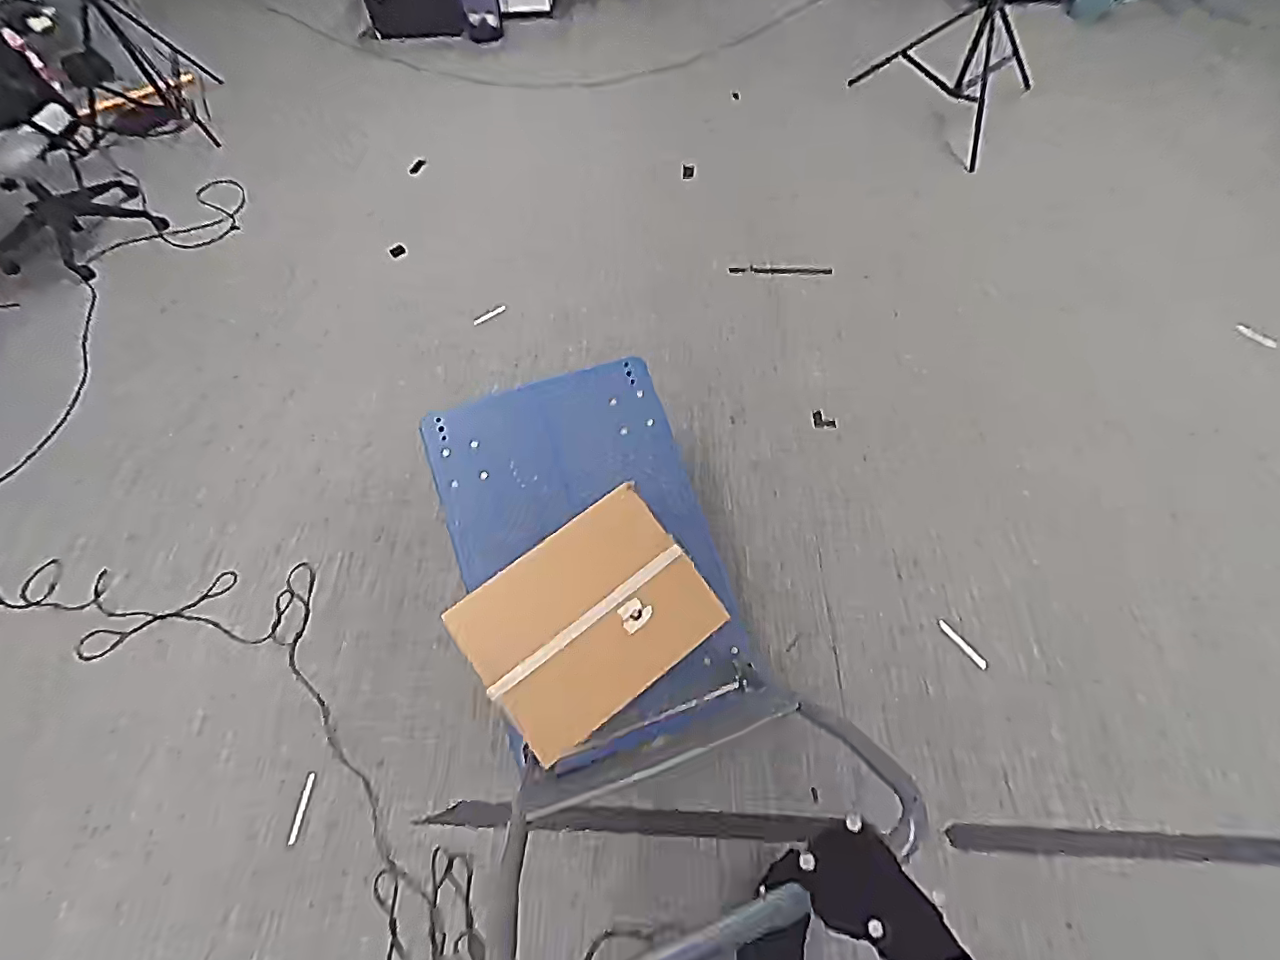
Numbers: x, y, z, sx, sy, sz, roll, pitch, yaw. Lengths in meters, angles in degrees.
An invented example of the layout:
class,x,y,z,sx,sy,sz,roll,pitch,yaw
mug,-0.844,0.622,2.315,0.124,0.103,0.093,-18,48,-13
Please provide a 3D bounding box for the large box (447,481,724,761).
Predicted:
class,x,y,z,sx,sy,sz,roll,pitch,yaw
large box,-0.106,0.270,1.097,0.408,0.320,0.320,-37,84,-13
